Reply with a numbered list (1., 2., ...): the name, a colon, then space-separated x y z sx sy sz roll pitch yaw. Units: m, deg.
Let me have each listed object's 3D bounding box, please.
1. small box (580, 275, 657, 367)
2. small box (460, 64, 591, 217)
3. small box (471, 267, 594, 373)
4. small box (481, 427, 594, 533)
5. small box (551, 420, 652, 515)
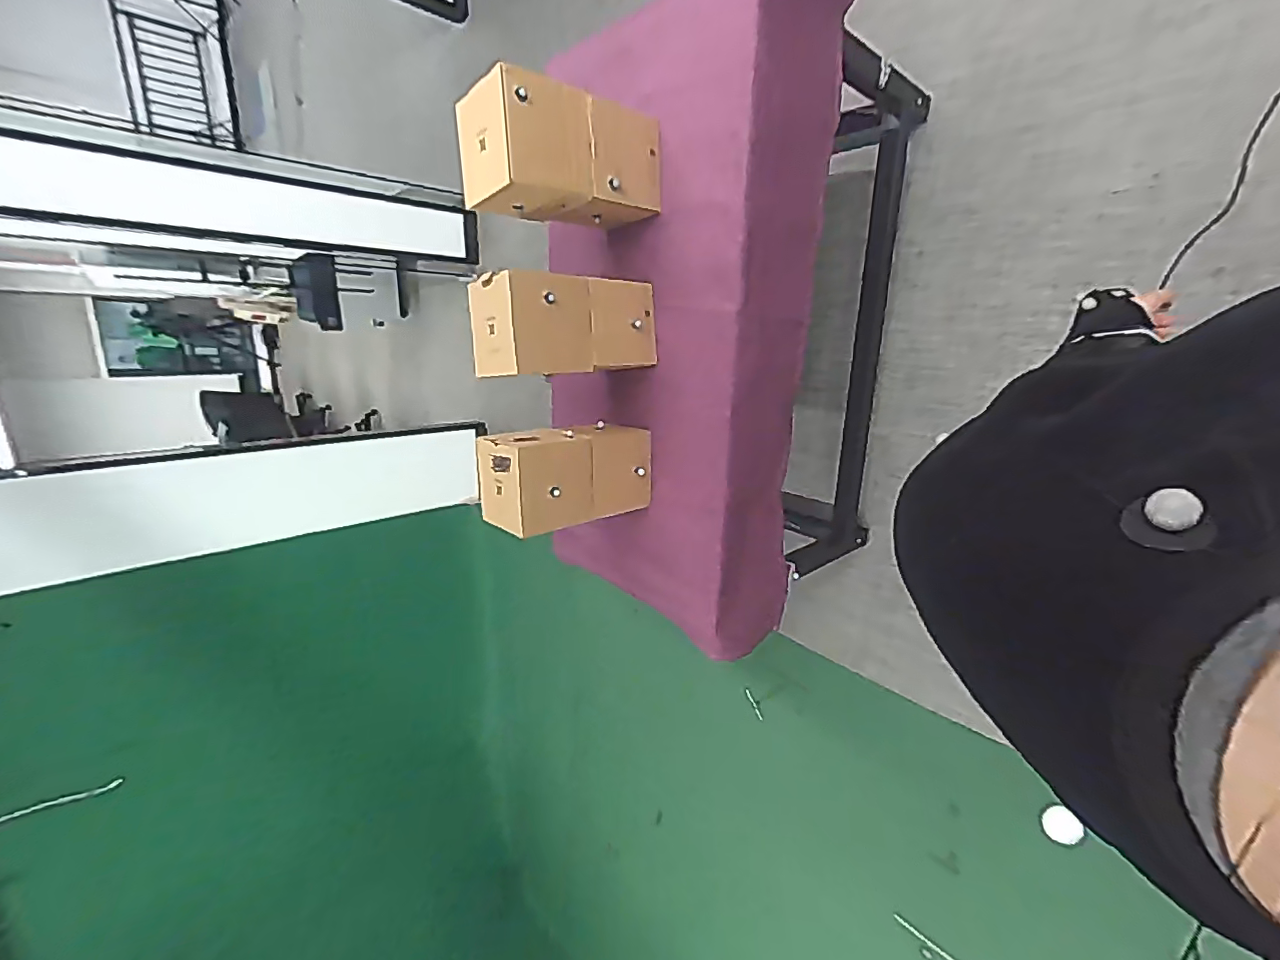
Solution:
1. small box: -0.084 -0.327 1.146 0.179 0.176 0.168 7 105 47
2. small box: -0.200 -0.583 0.961 0.168 0.176 0.179 8 105 47
3. small box: -0.203 -0.297 1.037 0.168 0.176 0.179 10 108 48
4. small box: -0.207 -0.011 1.110 0.168 0.176 0.179 15 111 46
5. small box: -0.085 -0.037 1.218 0.168 0.176 0.179 15 110 46
